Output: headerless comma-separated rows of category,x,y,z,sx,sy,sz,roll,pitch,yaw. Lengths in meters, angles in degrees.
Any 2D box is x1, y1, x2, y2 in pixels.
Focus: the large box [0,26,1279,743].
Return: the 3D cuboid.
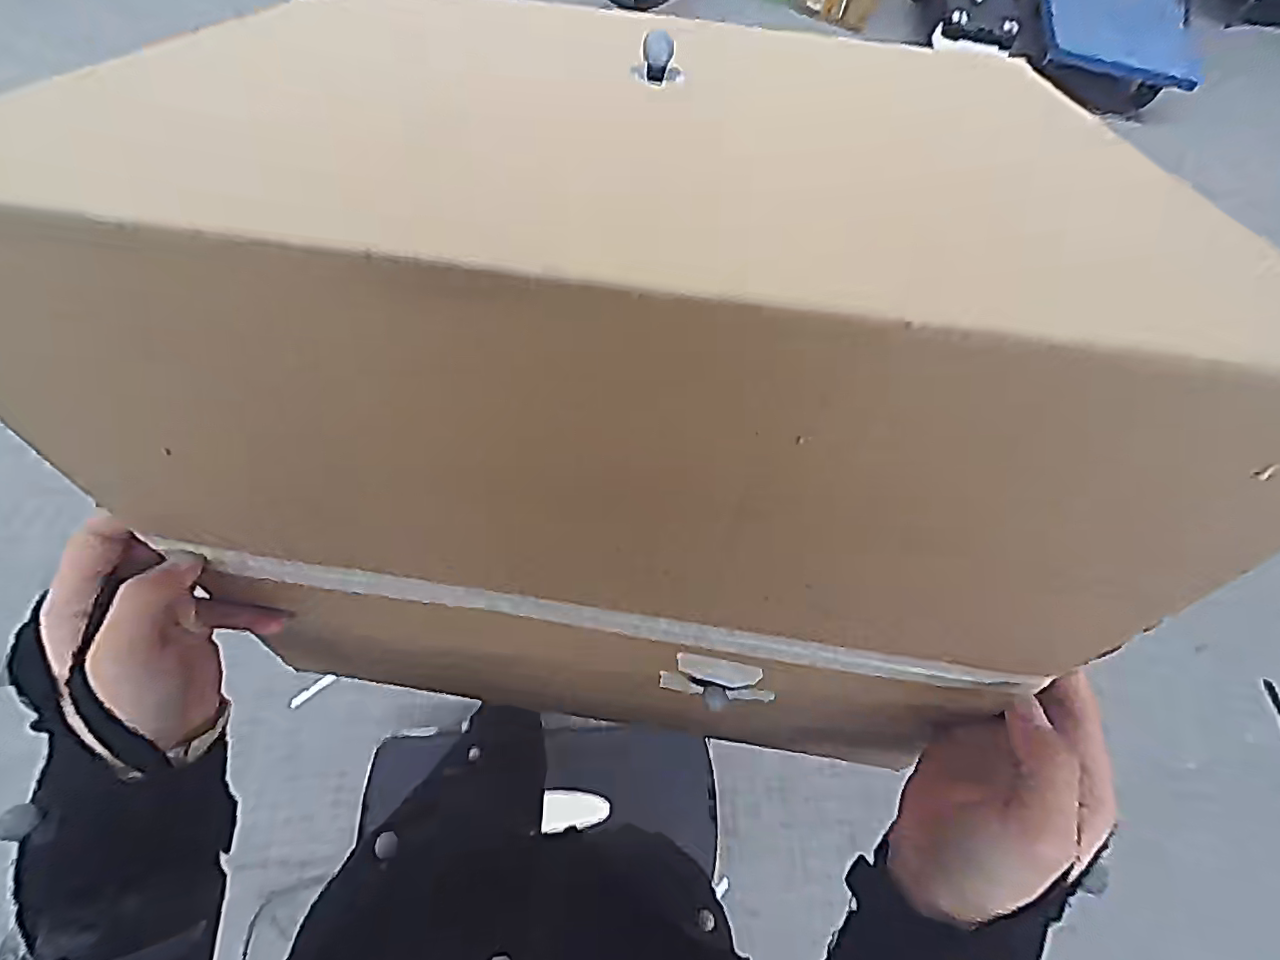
large box,-0.009,-0.061,0.352,0.408,0.320,0.320,7,50,2
